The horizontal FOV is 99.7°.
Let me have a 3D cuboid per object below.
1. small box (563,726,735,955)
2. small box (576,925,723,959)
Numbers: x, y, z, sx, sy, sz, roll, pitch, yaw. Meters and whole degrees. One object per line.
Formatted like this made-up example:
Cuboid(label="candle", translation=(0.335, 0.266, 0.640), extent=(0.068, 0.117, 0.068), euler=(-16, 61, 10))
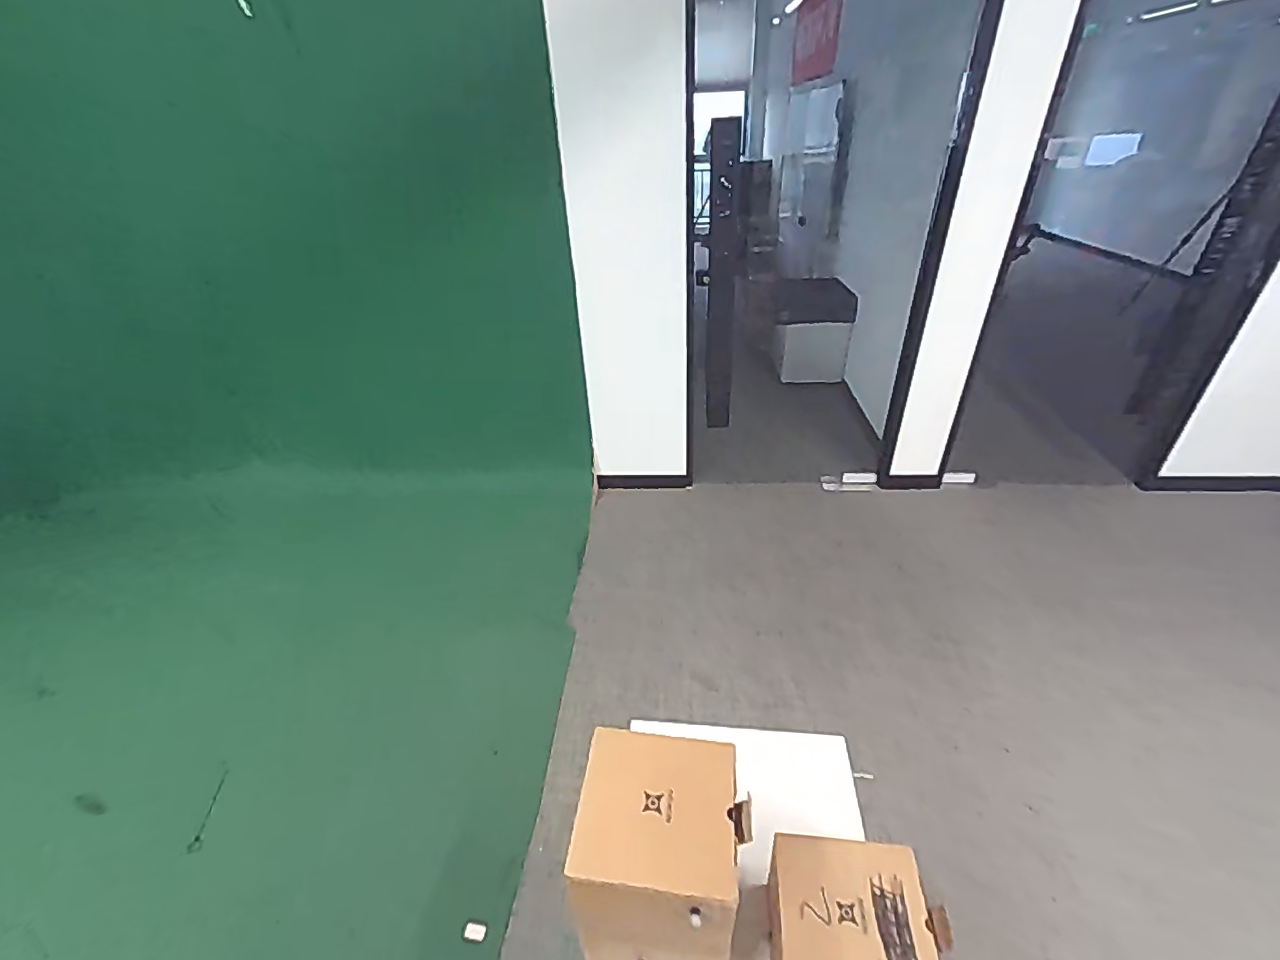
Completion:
Cuboid(label="small box", translation=(0.018, 0.425, 0.644), extent=(0.179, 0.176, 0.168), euler=(4, 33, 6))
Cuboid(label="small box", translation=(0.021, 0.562, 0.735), extent=(0.179, 0.176, 0.168), euler=(2, 33, 5))
